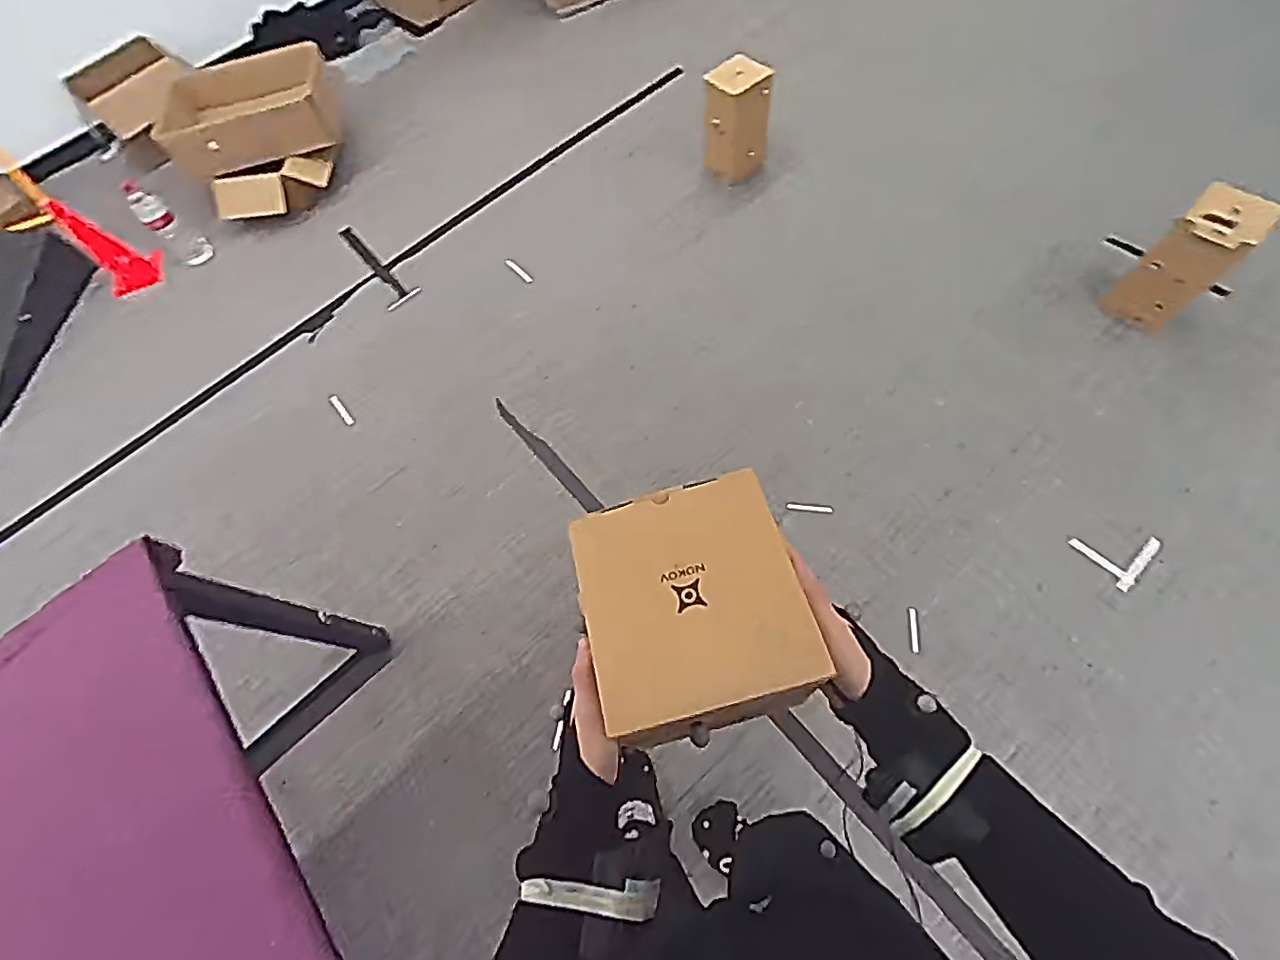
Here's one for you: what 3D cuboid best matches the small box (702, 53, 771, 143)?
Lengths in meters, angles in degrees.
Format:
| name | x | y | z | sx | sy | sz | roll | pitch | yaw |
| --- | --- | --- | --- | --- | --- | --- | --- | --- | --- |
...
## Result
| name | x | y | z | sx | sy | sz | roll | pitch | yaw |
| --- | --- | --- | --- | --- | --- | --- | --- | --- | --- |
| small box | 0.331 | -1.329 | 1.886 | 0.179 | 0.176 | 0.168 | -38 | 66 | -9 |

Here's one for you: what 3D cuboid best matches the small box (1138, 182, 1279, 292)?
| name | x | y | z | sx | sy | sz | roll | pitch | yaw |
| --- | --- | --- | --- | --- | --- | --- | --- | --- | --- |
| small box | 1.482 | -0.634 | 1.425 | 0.168 | 0.176 | 0.179 | 41 | 76 | 21 |

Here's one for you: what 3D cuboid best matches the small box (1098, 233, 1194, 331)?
| name | x | y | z | sx | sy | sz | roll | pitch | yaw |
| --- | --- | --- | --- | --- | --- | --- | --- | --- | --- |
| small box | 1.498 | -0.571 | 1.577 | 0.168 | 0.176 | 0.179 | 40 | 75 | 20 |

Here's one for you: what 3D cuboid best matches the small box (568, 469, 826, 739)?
| name | x | y | z | sx | sy | sz | roll | pitch | yaw |
| --- | --- | --- | --- | --- | --- | --- | --- | --- | --- |
| small box | 0.047 | 0.121 | 0.484 | 0.168 | 0.176 | 0.179 | -16 | 59 | 1 |
